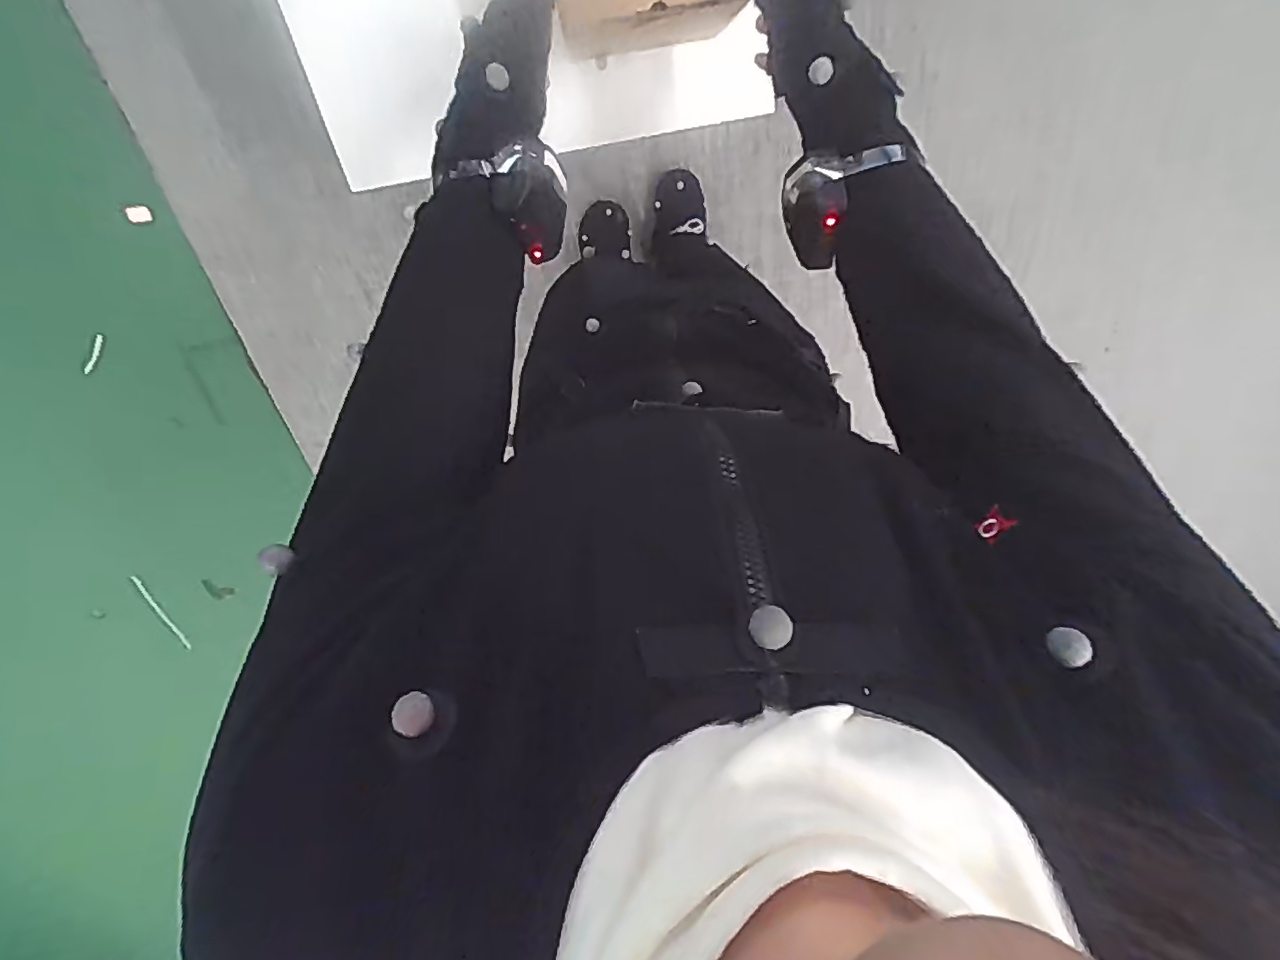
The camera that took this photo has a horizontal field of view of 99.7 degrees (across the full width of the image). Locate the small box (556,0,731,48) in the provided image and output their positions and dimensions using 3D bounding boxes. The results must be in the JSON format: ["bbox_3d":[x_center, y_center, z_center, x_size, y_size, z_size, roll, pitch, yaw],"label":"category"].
[{"bbox_3d":[-0.002,-0.511,0.480,0.168,0.176,0.179,-9,119,1],"label":"small box"}]
